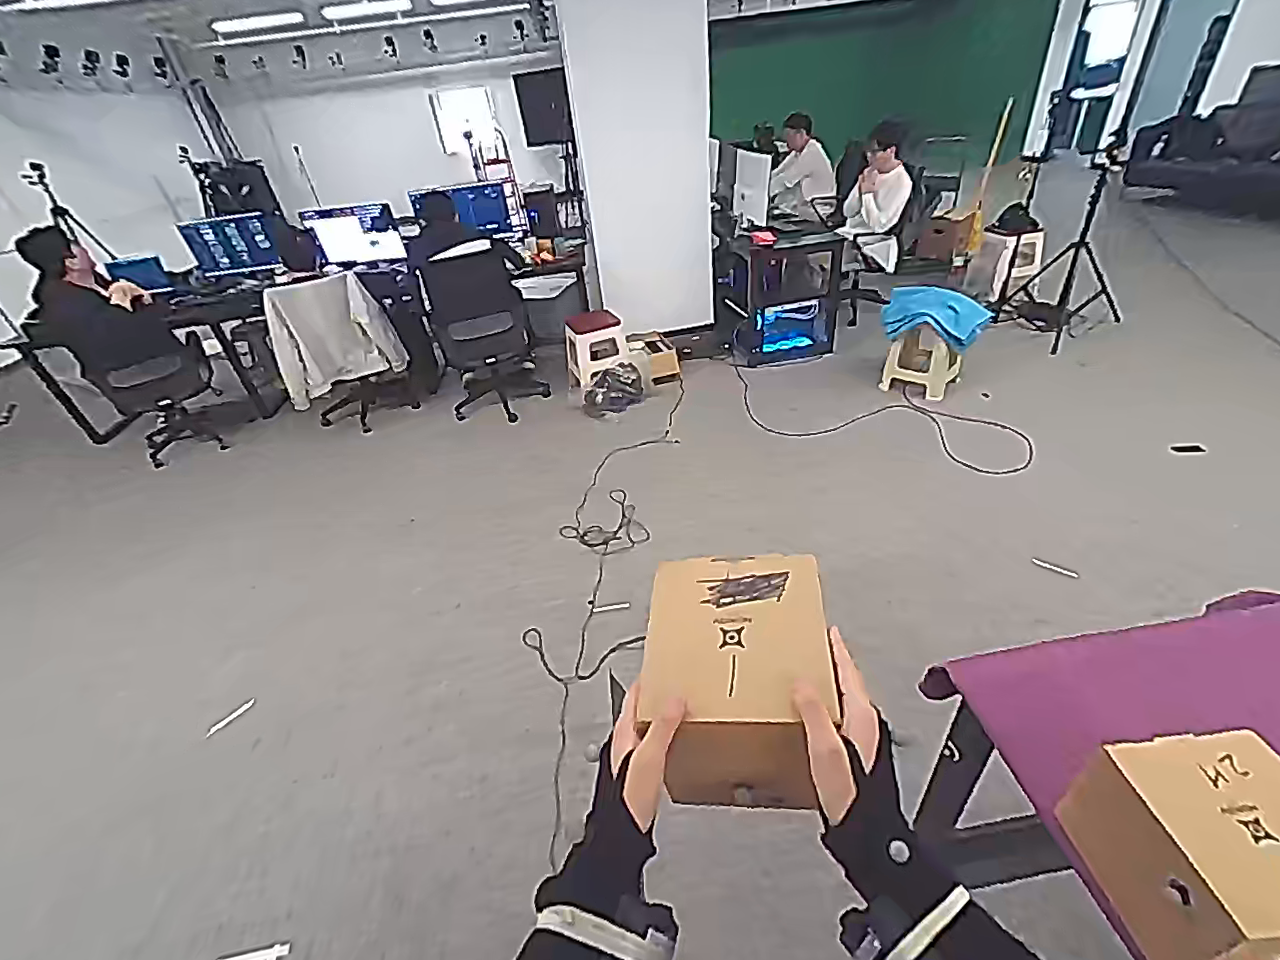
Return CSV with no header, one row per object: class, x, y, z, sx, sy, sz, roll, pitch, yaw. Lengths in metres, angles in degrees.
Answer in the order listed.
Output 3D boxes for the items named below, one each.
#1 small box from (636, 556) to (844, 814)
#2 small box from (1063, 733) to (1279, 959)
small box,0.103,0.199,0.538,0.168,0.176,0.179,-6,38,14
small box,0.609,0.402,0.574,0.168,0.176,0.179,-7,35,2
